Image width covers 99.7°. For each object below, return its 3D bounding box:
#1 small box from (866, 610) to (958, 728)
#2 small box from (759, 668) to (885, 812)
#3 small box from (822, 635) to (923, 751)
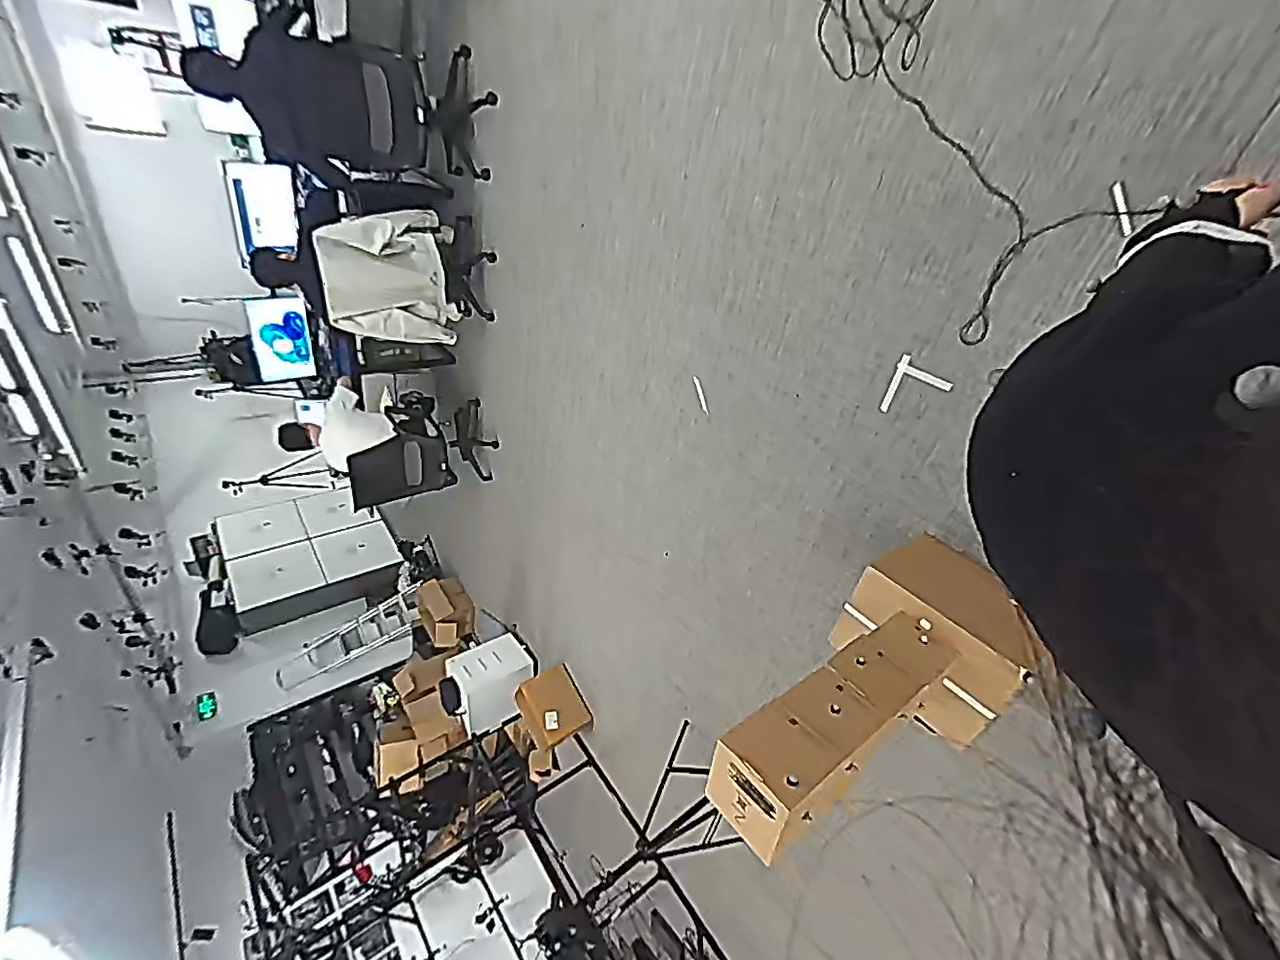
[{"bbox_3d":[0.633,0.453,1.315,0.168,0.176,0.179,39,132,37],"label":"small box"},{"bbox_3d":[0.379,0.528,1.124,0.168,0.176,0.179,36,130,42],"label":"small box"},{"bbox_3d":[0.505,0.484,1.220,0.168,0.176,0.179,39,133,39],"label":"small box"}]
